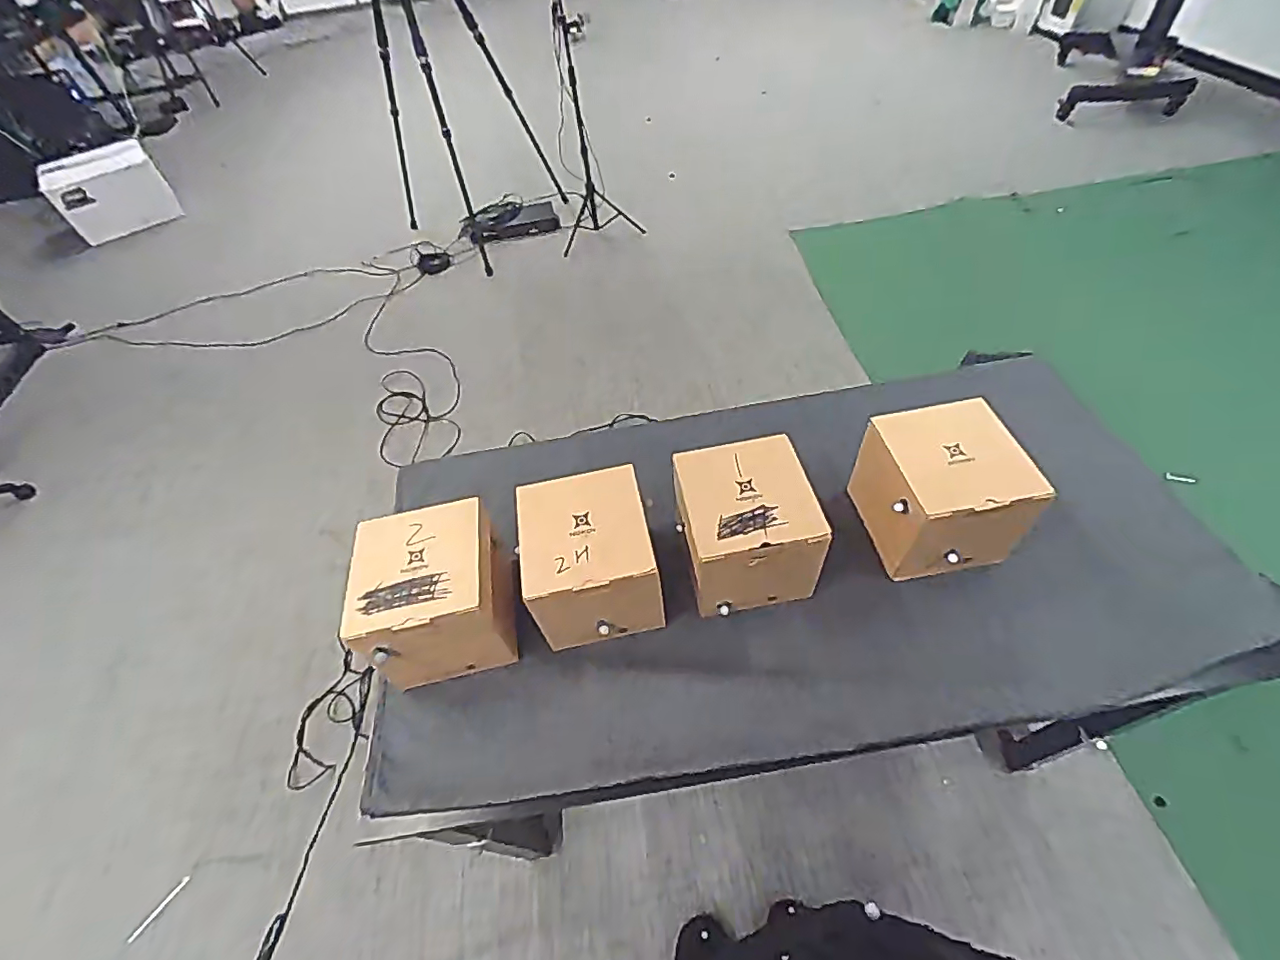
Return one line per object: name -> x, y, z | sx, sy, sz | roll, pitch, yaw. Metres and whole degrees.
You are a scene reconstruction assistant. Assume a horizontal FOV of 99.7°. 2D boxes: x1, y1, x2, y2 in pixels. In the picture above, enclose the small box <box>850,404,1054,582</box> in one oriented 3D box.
small box -> 0.423, 0.021, 0.774 | 0.168, 0.176, 0.179 | -10, 52, -1
